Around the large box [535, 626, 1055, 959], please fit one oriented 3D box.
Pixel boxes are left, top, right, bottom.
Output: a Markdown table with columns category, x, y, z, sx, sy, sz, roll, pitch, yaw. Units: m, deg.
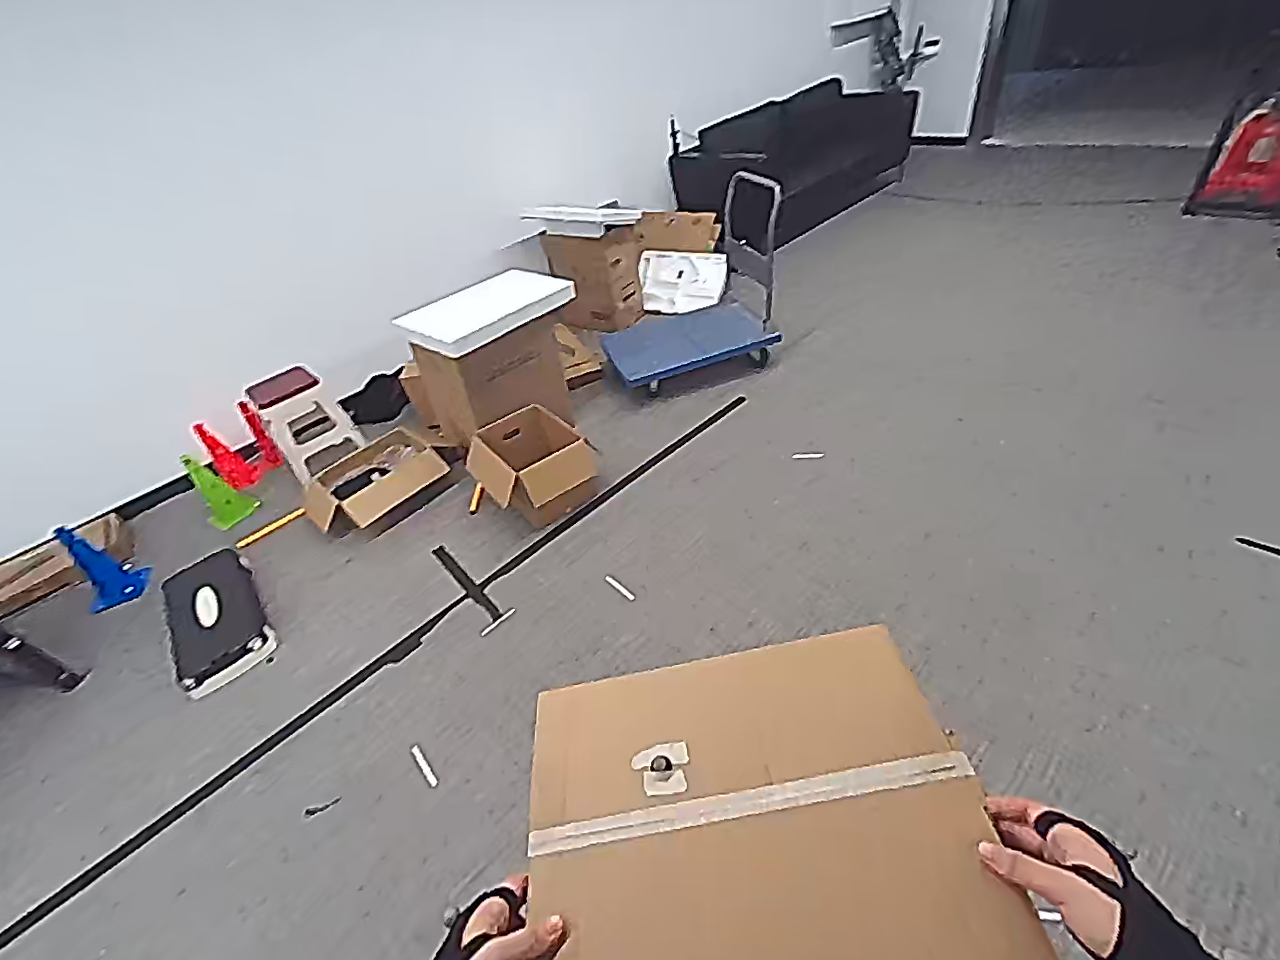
| category | x | y | z | sx | sy | sz | roll | pitch | yaw |
| --- | --- | --- | --- | --- | --- | --- | --- | --- | --- |
| large box | 0.131 | 0.417 | 0.603 | 0.408 | 0.320 | 0.320 | -14 | 38 | 5 |
